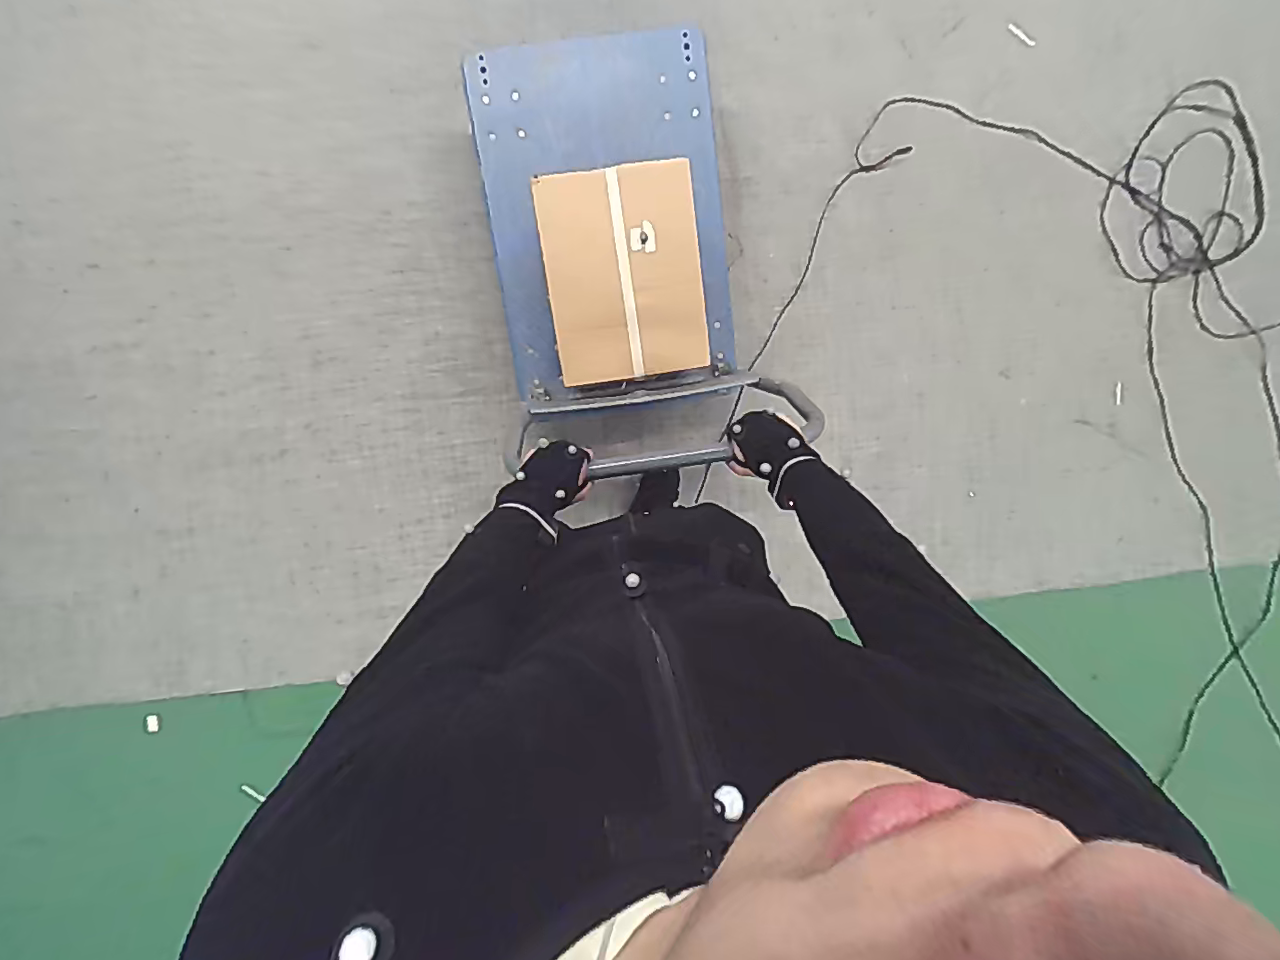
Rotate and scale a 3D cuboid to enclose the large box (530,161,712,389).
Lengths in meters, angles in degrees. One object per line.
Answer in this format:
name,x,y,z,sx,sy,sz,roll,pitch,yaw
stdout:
large box,-0.039,-0.433,1.231,0.320,0.320,0.408,-9,101,-3
